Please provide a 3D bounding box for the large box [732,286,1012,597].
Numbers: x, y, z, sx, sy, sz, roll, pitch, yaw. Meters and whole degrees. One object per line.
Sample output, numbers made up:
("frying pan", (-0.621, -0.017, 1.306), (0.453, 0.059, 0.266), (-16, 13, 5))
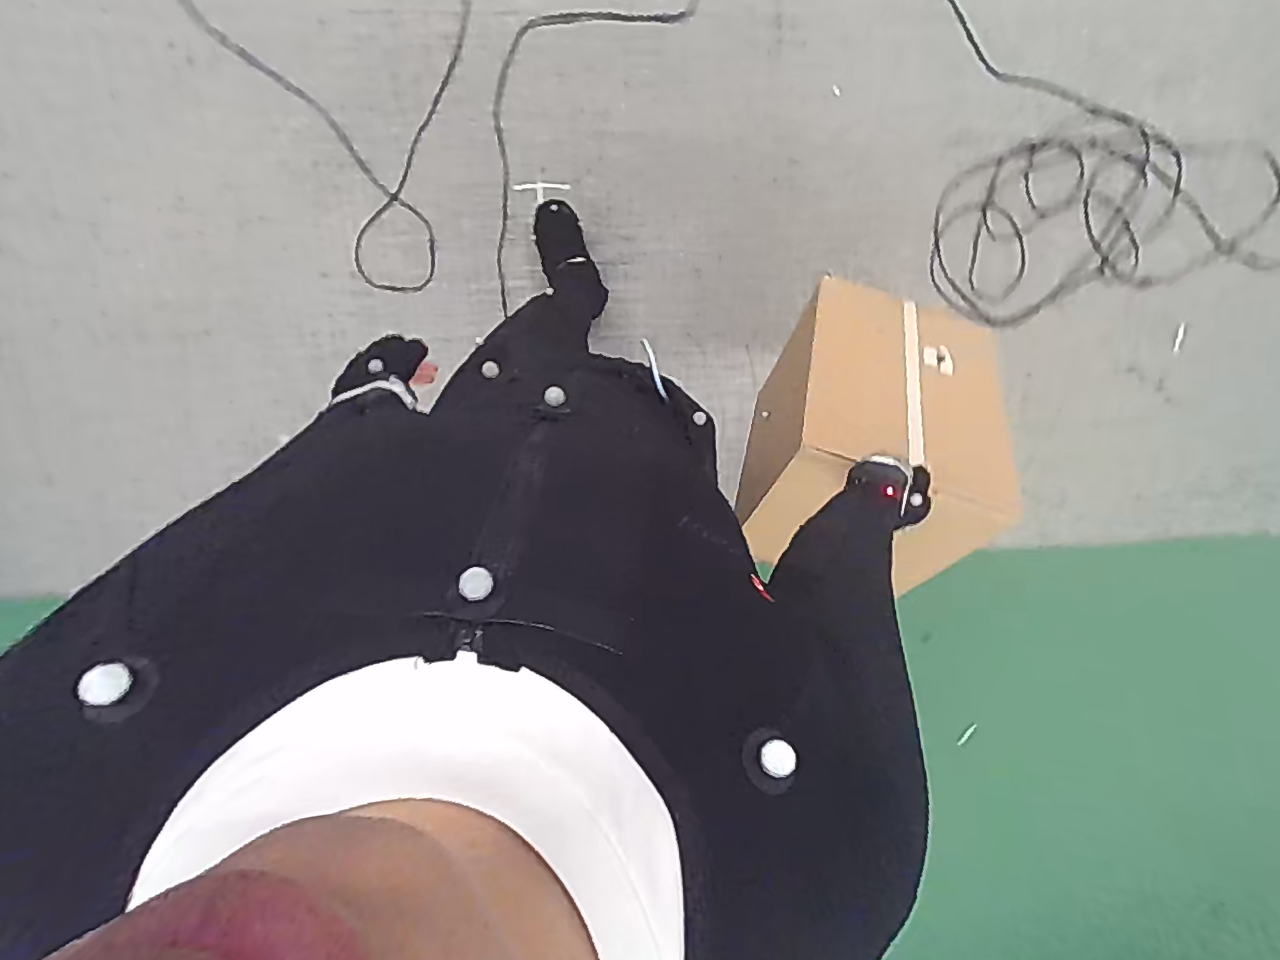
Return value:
("large box", (0.381, -0.065, 0.966), (0.320, 0.408, 0.320), (20, 143, -1))
